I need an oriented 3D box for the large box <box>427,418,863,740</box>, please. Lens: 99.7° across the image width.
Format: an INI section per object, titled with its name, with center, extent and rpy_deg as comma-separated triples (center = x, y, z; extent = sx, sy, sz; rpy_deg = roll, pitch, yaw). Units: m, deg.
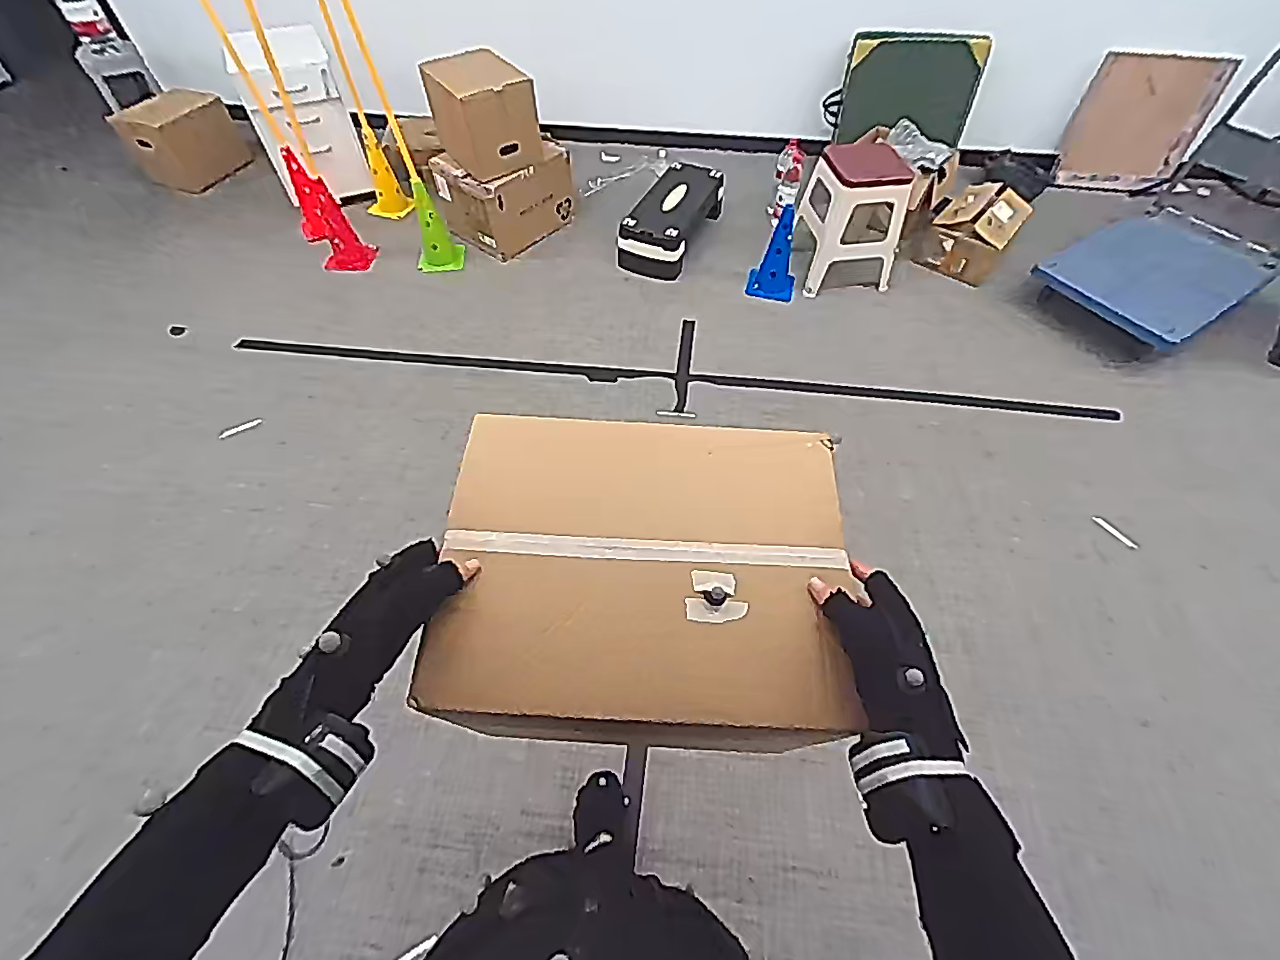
[large box]
center = 0.003, 0.143, 0.685
extent = 0.408, 0.320, 0.320
rpy_deg = 4, 61, -1
